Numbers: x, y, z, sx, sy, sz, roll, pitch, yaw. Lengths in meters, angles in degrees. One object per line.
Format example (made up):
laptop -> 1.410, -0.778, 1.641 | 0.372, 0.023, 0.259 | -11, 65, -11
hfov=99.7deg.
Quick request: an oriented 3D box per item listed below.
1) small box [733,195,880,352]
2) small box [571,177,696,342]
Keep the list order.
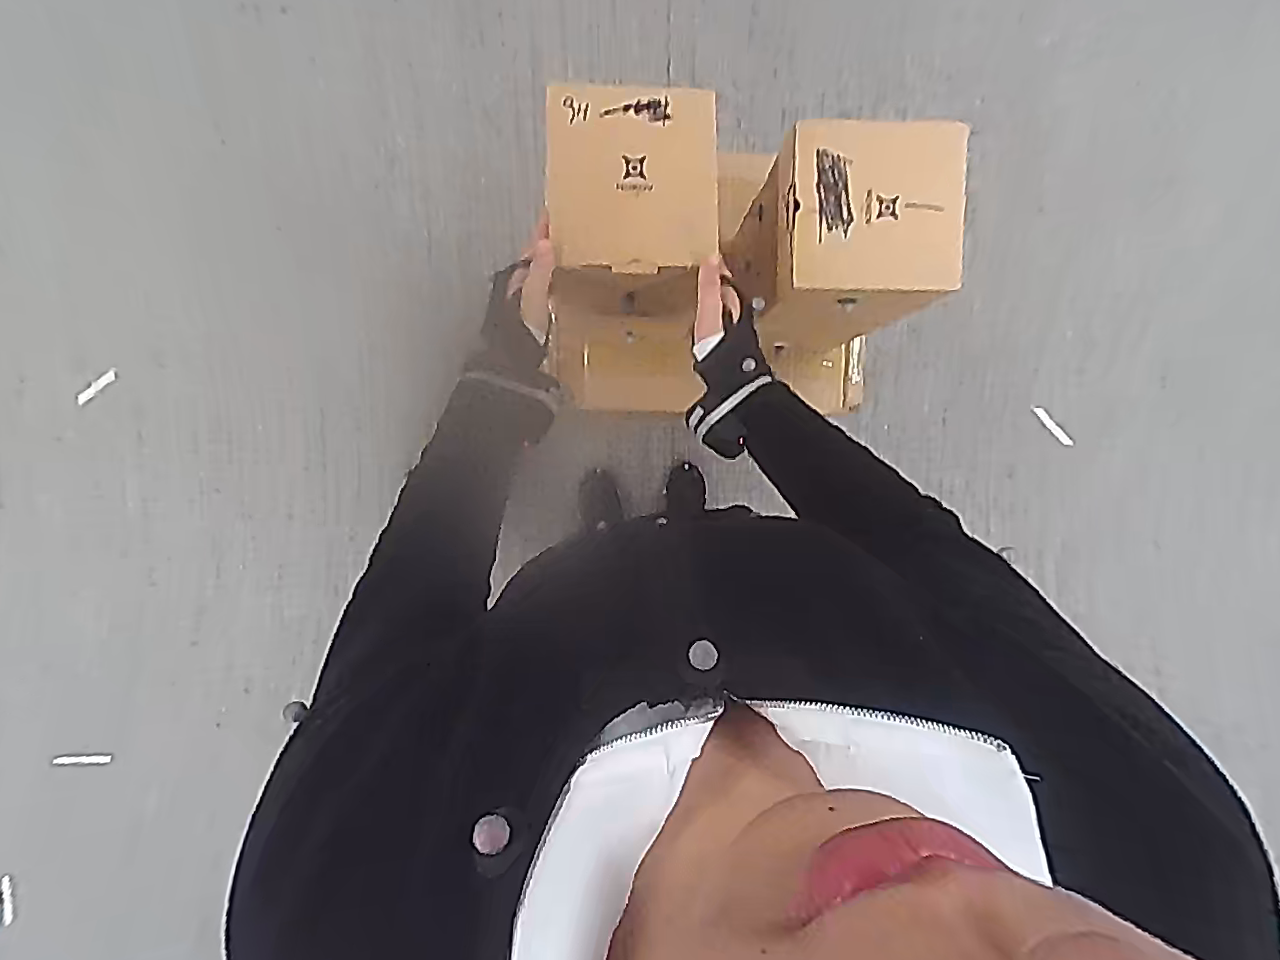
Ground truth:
small box -> 0.230, -0.290, 0.789 | 0.168, 0.176, 0.179 | 0, 95, 0
small box -> -0.013, -0.304, 0.777 | 0.168, 0.176, 0.179 | -1, 93, -3
